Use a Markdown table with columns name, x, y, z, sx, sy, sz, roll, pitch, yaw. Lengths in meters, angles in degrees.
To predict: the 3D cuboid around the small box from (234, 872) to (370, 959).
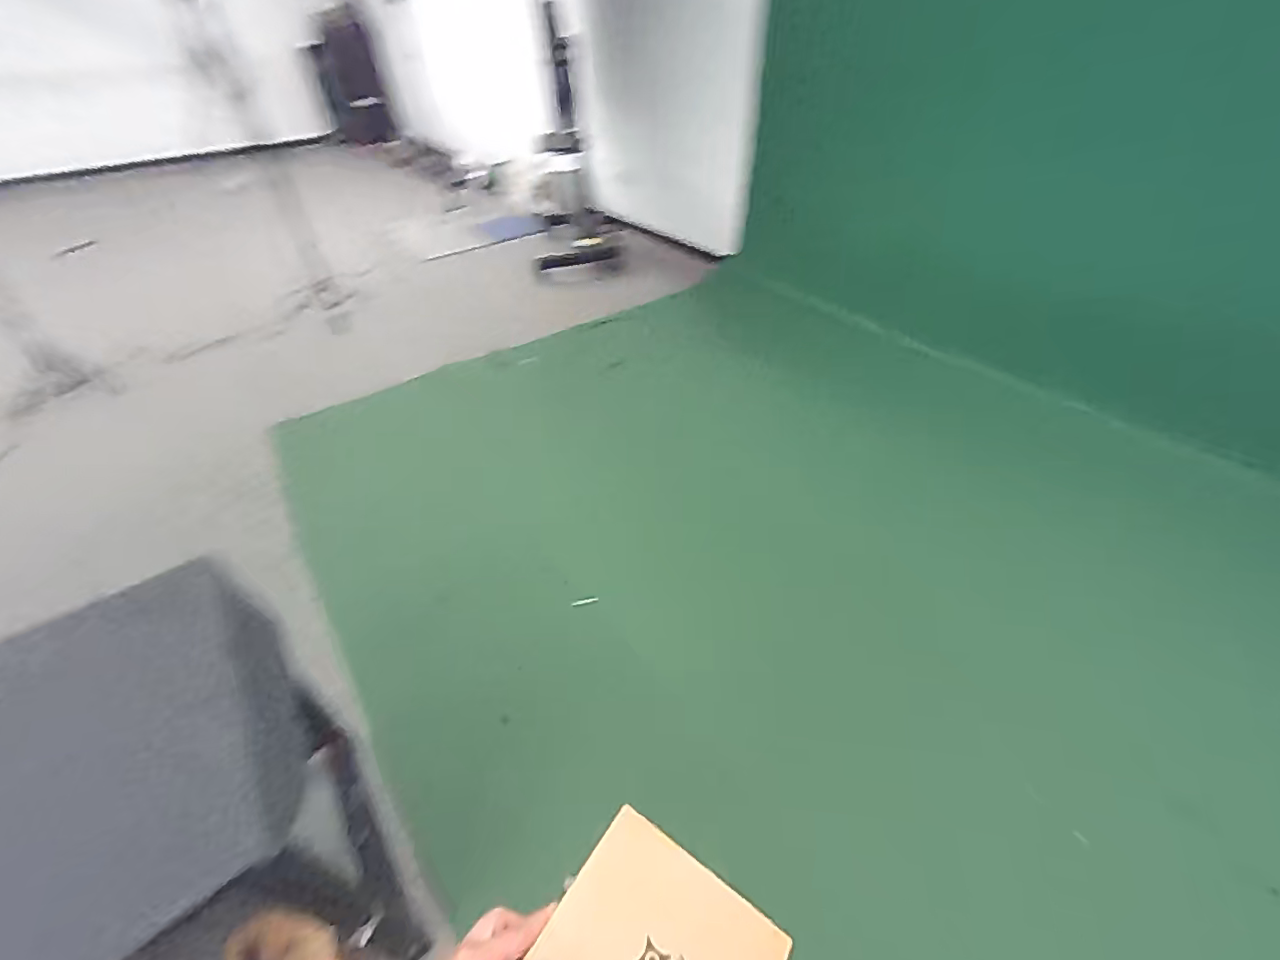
| name | x | y | z | sx | sy | sz | roll | pitch | yaw |
| --- | --- | --- | --- | --- | --- | --- | --- | --- | --- |
| small box | -0.667 | 0.937 | 1.076 | 0.179 | 0.176 | 0.168 | -22 | 47 | -22 |
